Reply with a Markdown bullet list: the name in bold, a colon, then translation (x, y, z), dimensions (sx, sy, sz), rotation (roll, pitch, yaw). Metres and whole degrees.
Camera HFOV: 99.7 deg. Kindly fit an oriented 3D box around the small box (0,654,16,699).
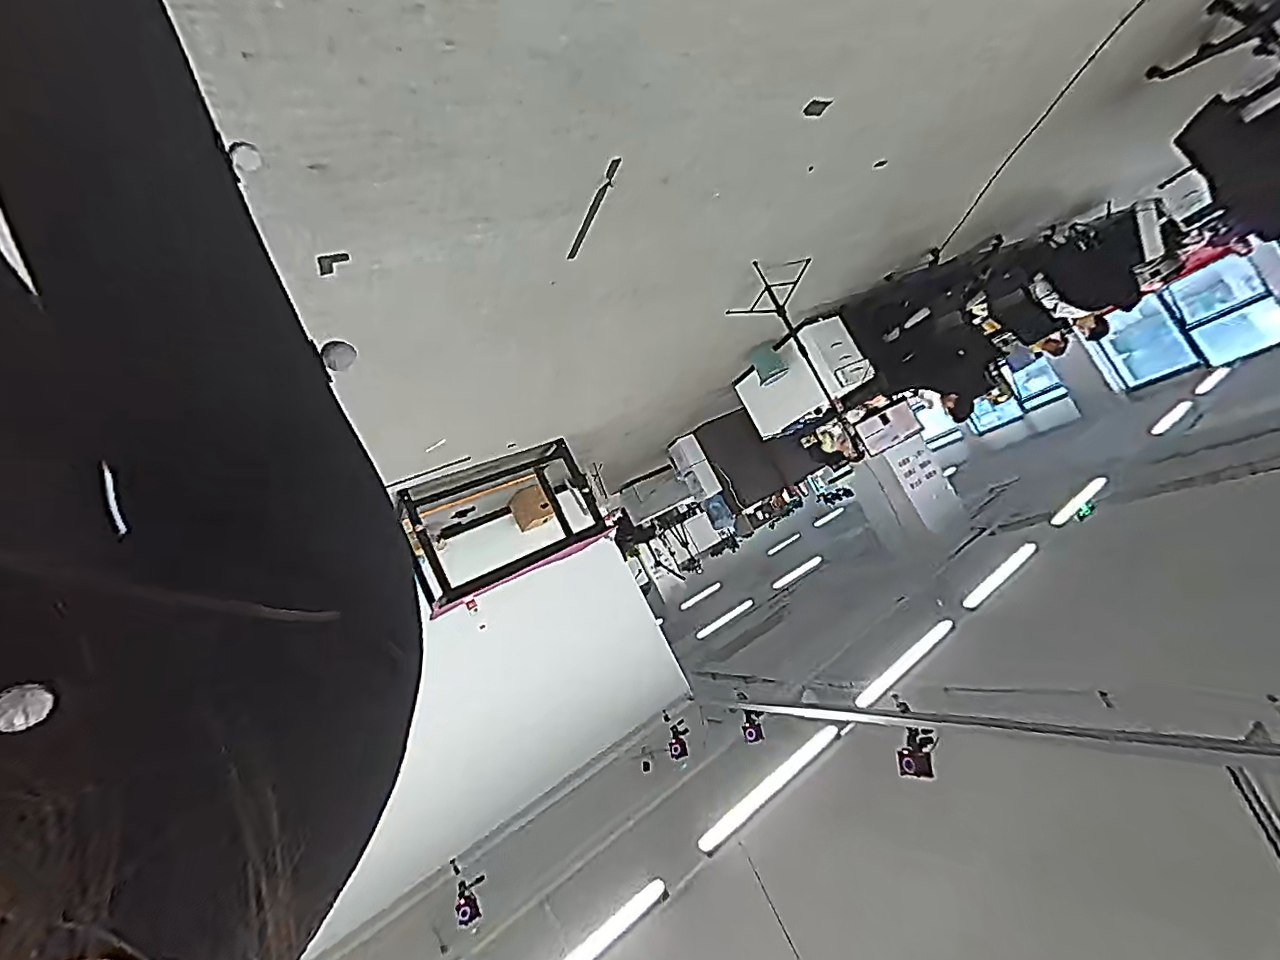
- **small box**: translation (-1.769, 0.507, 1.373), dimensions (0.179, 0.176, 0.168), rotation (-22, 172, -35)
